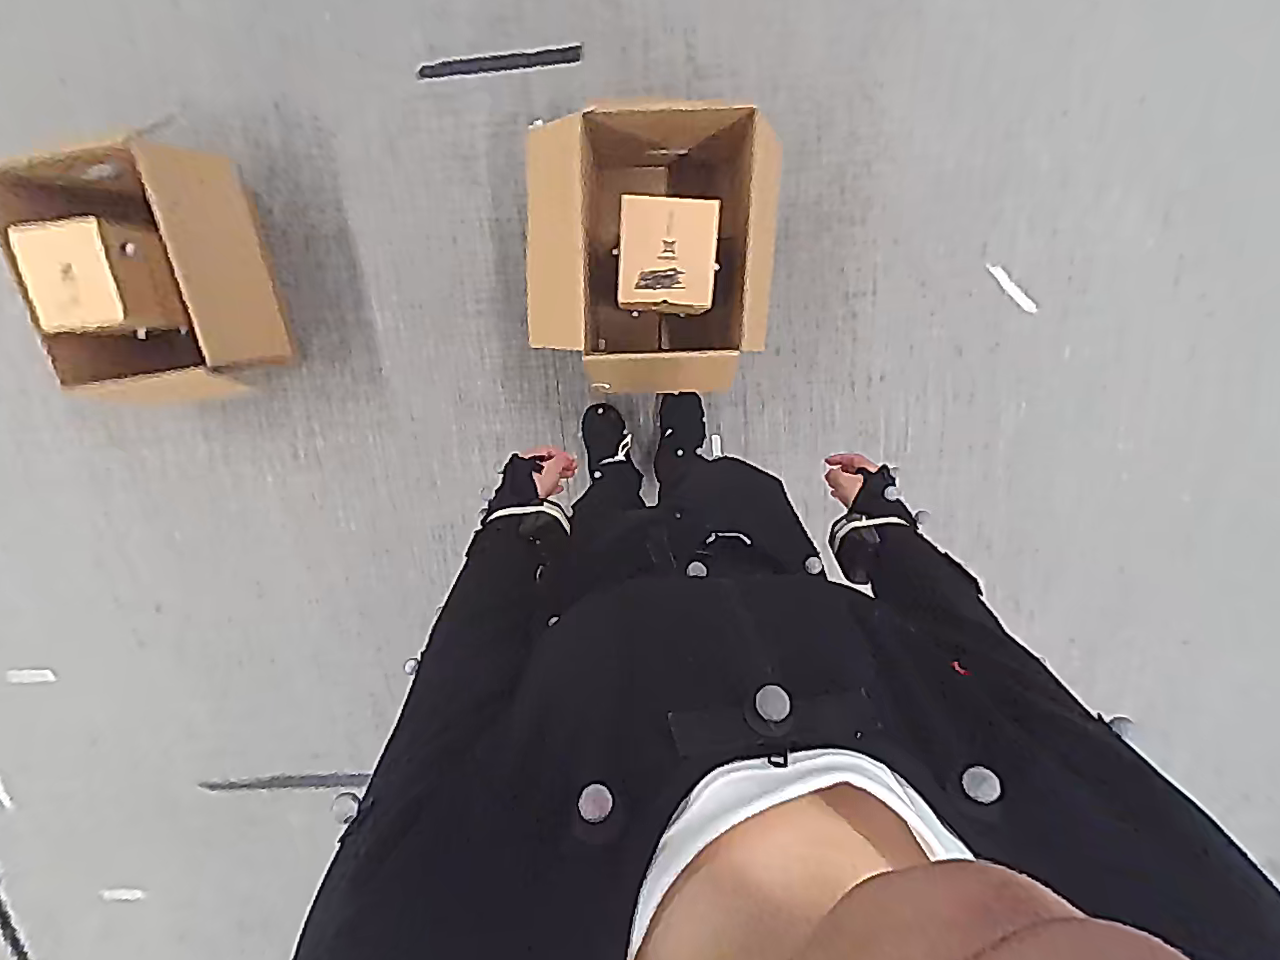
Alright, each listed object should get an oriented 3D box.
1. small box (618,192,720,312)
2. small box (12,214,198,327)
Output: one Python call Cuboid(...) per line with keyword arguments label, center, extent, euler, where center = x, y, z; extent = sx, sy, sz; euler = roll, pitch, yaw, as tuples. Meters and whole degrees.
Cuboid(label="small box", center=(0.048, -0.413, 1.008), extent=(0.168, 0.176, 0.179), euler=(3, 102, -2))
Cuboid(label="small box", center=(-1.017, -0.396, 1.046), extent=(0.168, 0.176, 0.179), euler=(-5, 104, 3))
